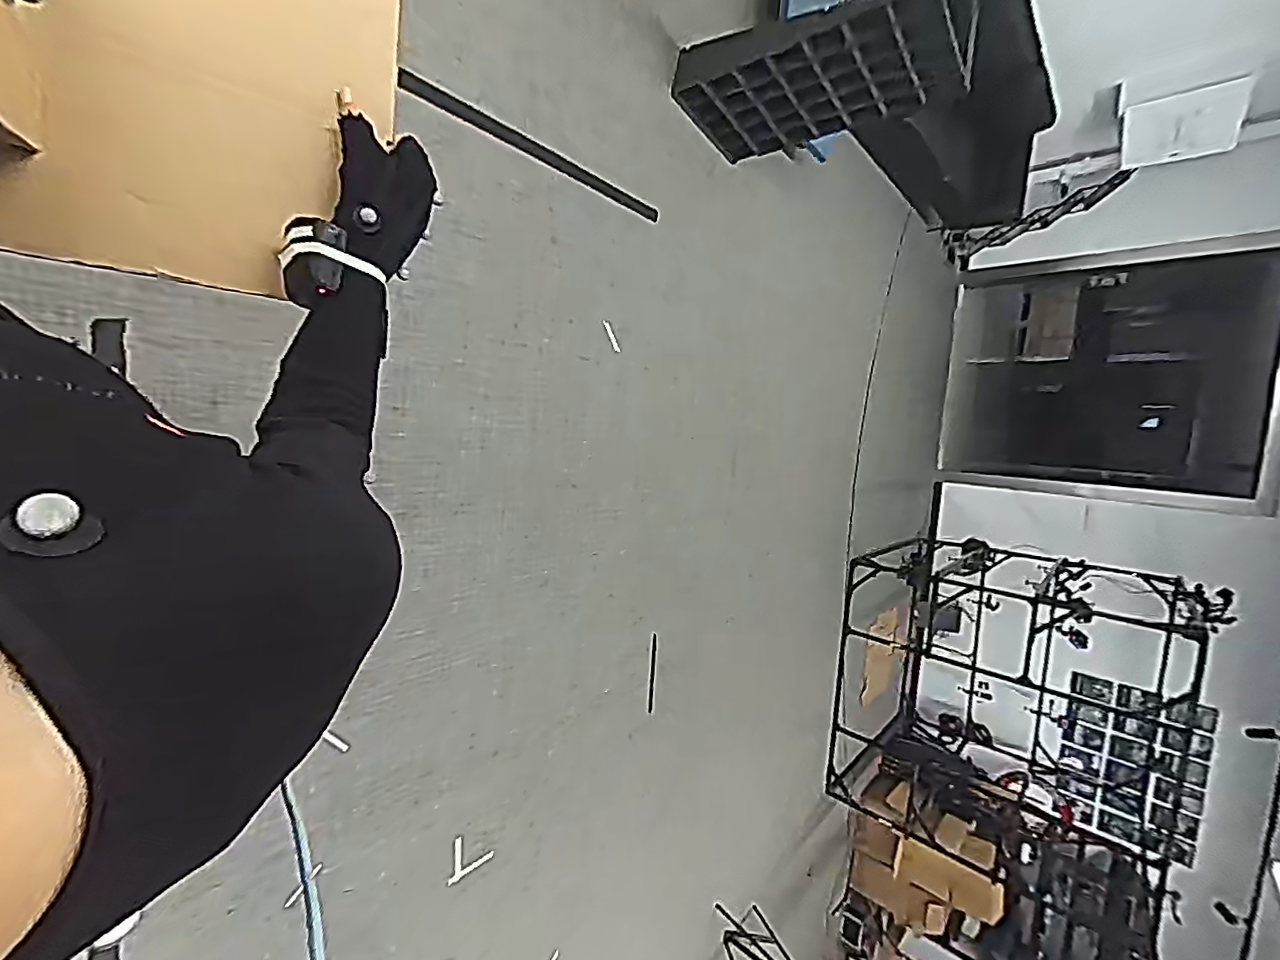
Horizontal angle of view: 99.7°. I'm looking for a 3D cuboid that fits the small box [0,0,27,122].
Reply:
[{"bbox_3d":[-0.438,-0.302,0.259,0.179,0.176,0.168,1,104,-38],"label":"small box"}]
